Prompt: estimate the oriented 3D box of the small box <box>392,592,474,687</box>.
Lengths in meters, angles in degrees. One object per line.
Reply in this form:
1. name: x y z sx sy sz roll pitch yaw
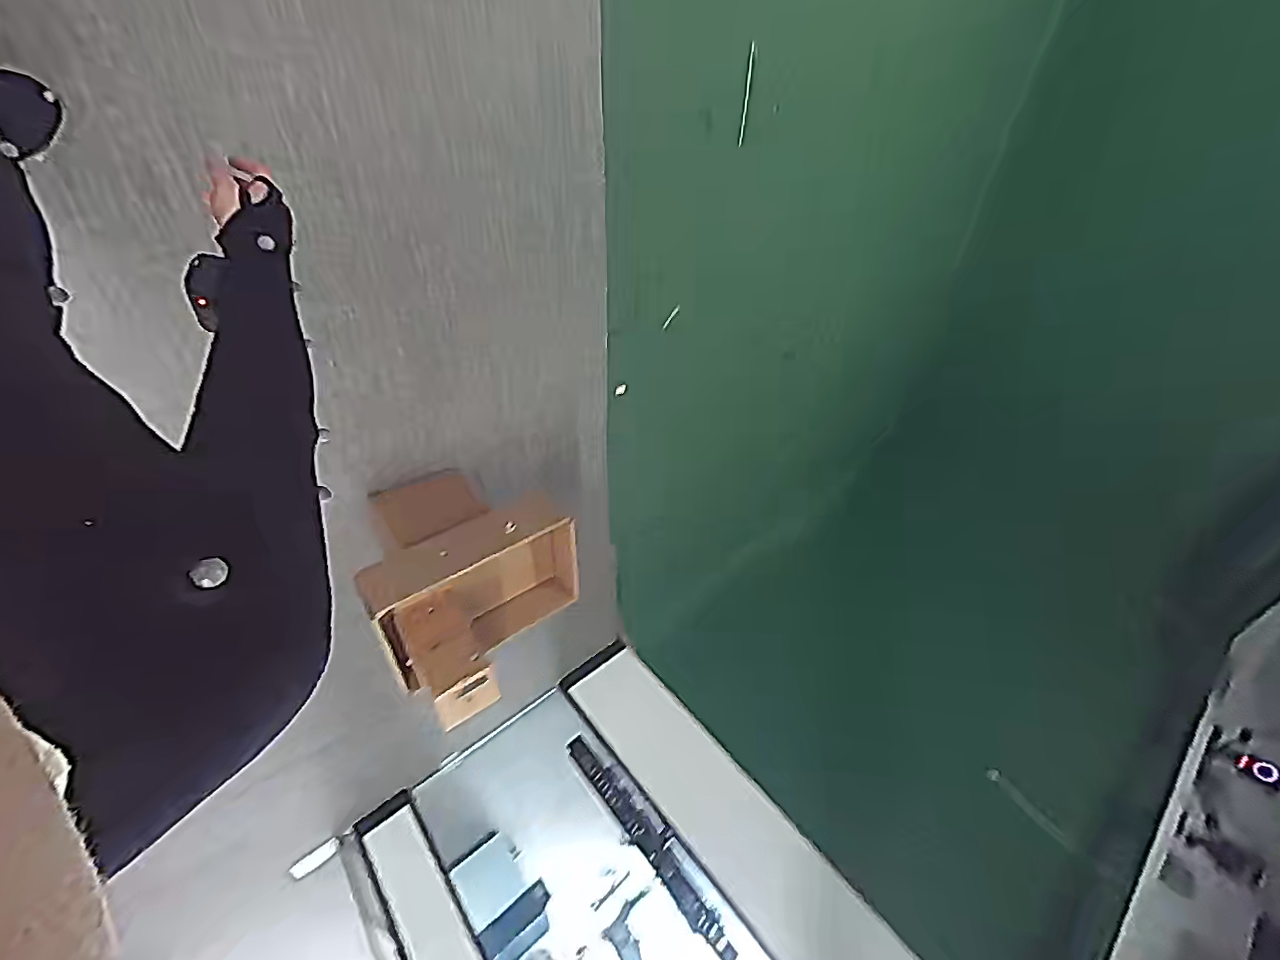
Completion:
1. small box: -0.622 0.475 1.628 0.168 0.176 0.179 -25 135 -31
